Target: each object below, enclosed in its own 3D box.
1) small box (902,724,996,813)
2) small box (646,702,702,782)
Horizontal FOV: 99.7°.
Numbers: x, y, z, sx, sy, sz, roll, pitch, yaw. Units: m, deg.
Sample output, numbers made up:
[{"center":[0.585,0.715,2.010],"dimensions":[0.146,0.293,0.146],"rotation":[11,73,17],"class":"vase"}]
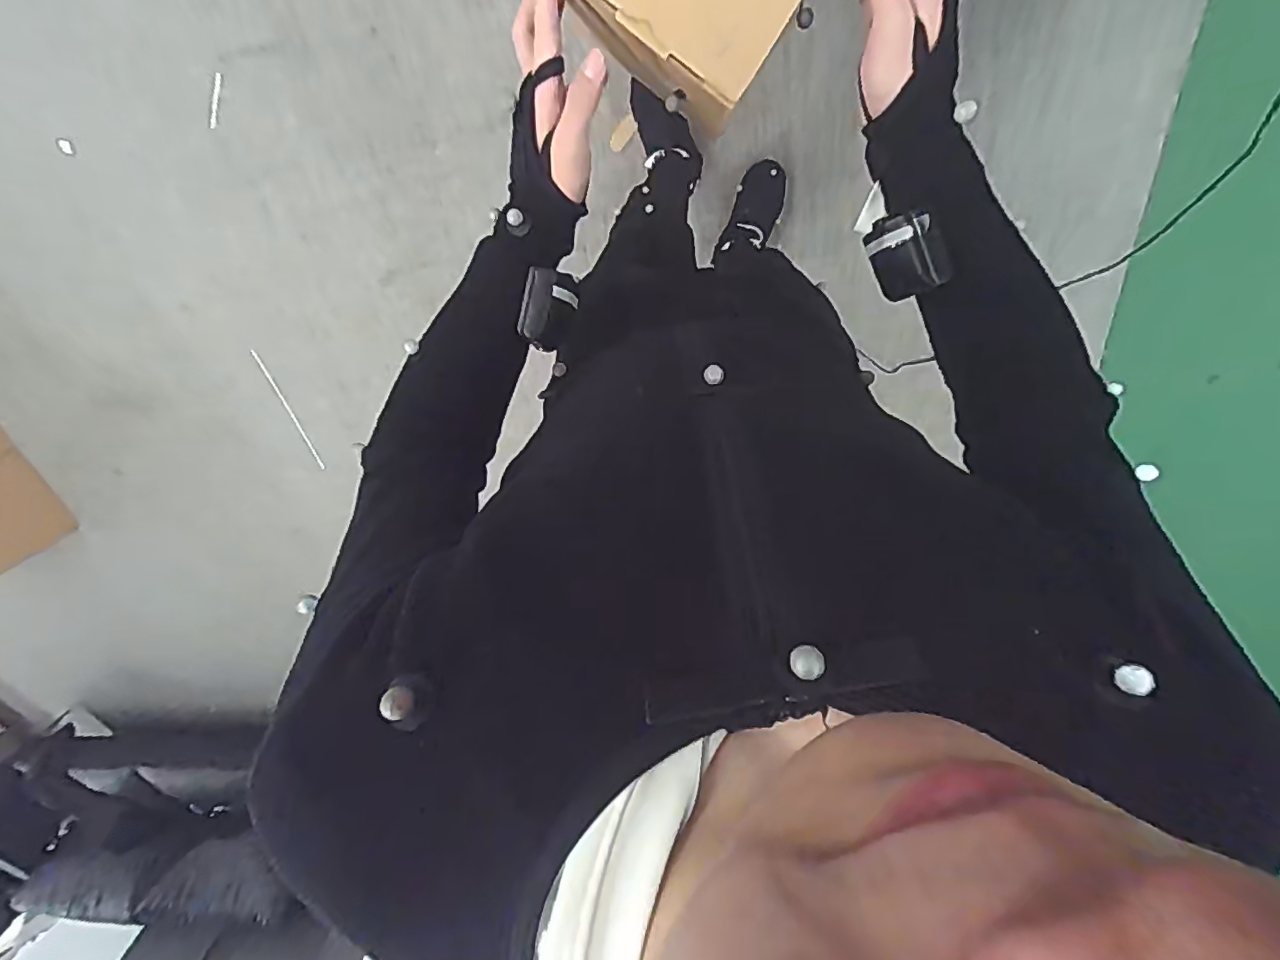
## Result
[{"center":[0.914,0.859,1.615],"dimensions":[0.179,0.176,0.168],"rotation":[-27,116,25],"class":"small box"},{"center":[0.112,0.831,1.726],"dimensions":[0.168,0.176,0.179],"rotation":[0,124,8],"class":"small box"}]
